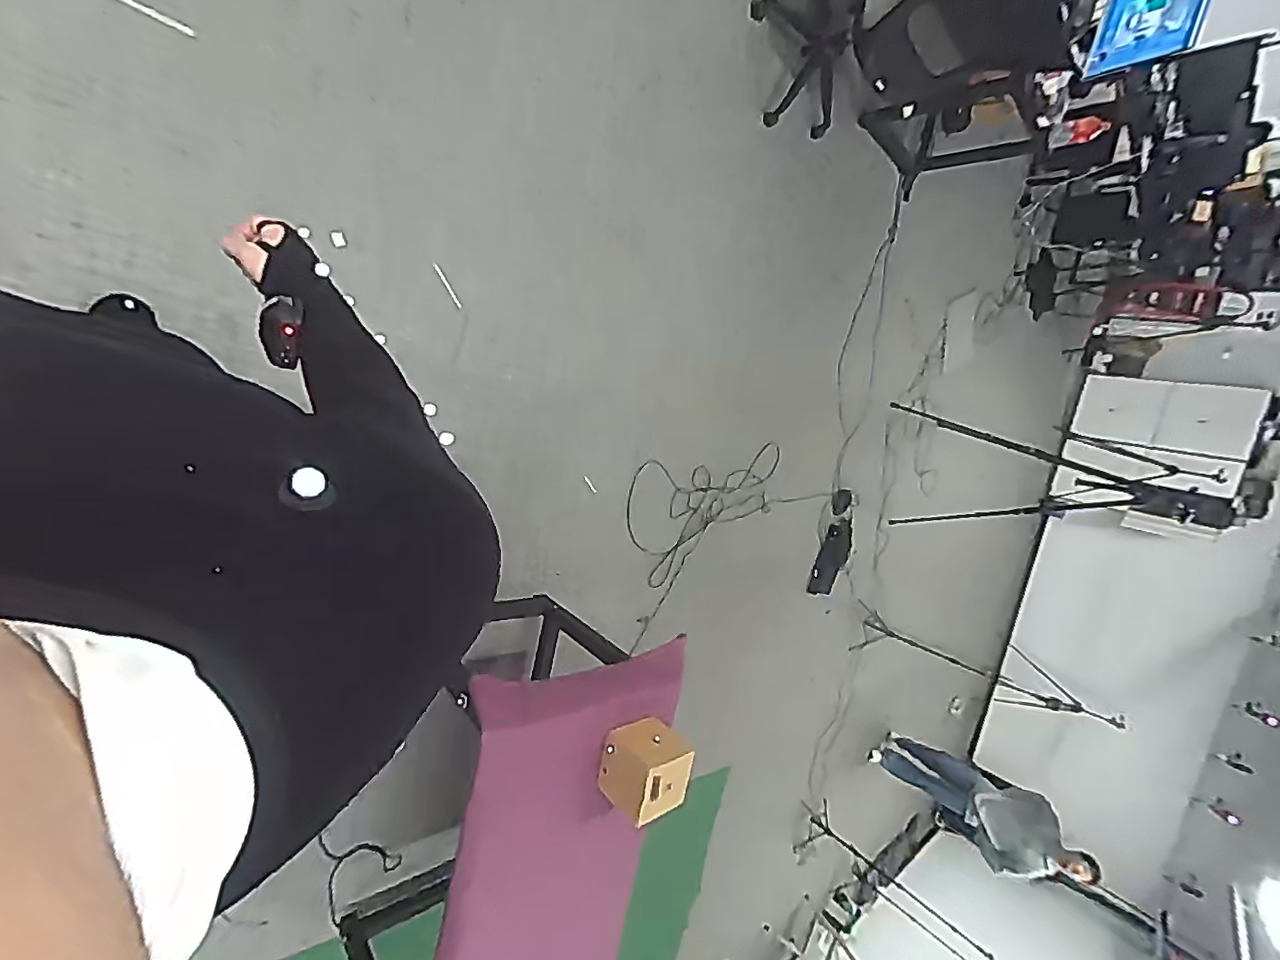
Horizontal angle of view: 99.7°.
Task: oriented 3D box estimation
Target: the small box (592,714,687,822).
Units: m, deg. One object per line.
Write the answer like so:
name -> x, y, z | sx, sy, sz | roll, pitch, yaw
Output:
small box -> -0.005, 0.763, 1.451 | 0.179, 0.176, 0.168 | 4, 101, -45
